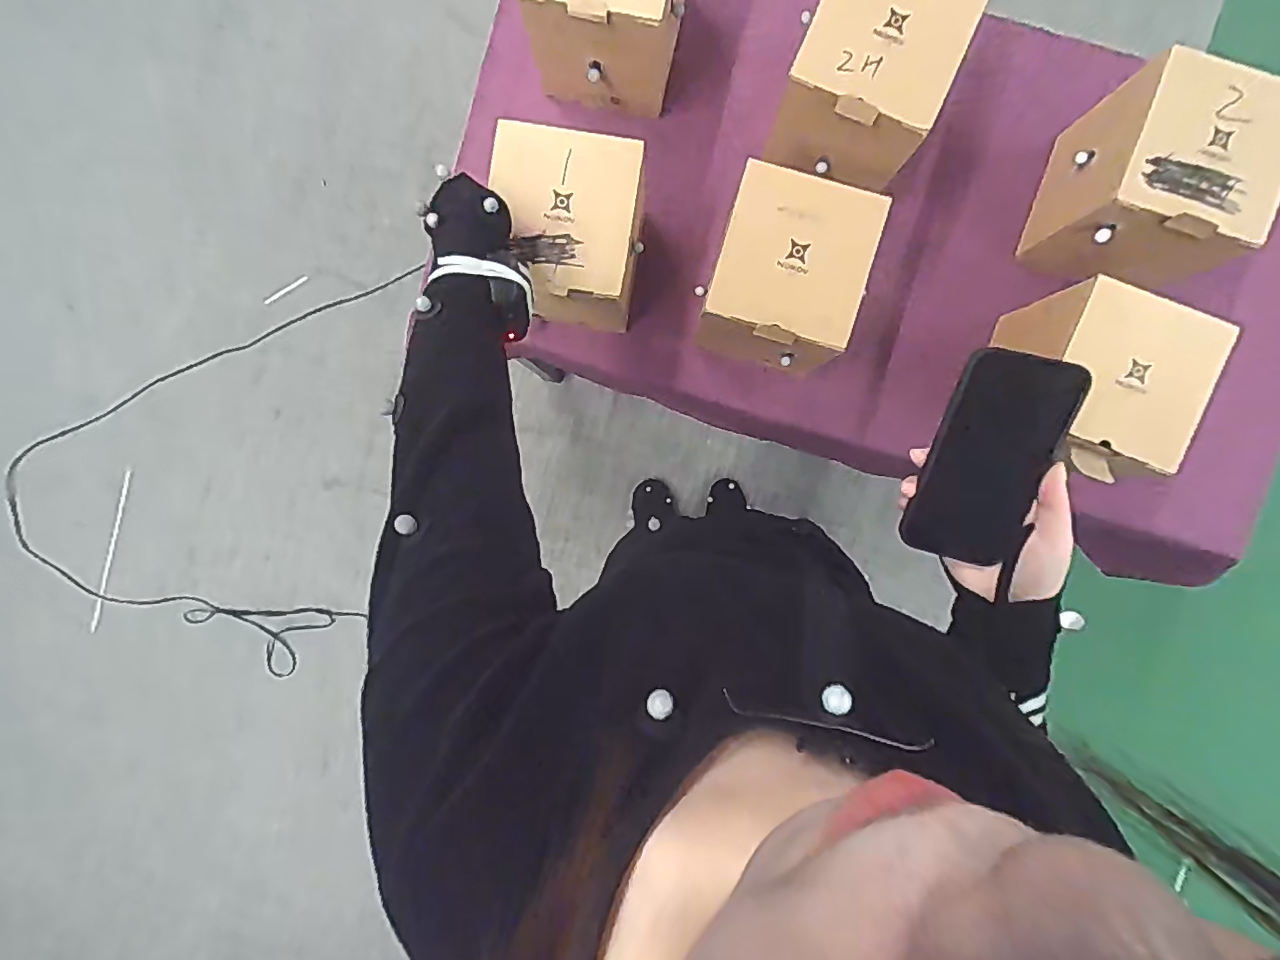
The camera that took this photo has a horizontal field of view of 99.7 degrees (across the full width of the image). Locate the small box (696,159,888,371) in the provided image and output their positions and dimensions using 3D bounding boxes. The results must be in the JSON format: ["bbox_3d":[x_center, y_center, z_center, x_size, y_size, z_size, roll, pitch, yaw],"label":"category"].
[{"bbox_3d":[0.172,-0.249,0.673,0.168,0.176,0.179,17,92,0],"label":"small box"}]

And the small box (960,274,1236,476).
[{"bbox_3d":[0.538,-0.117,0.666,0.168,0.176,0.179,22,93,1],"label":"small box"}]

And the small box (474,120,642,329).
[{"bbox_3d":[-0.091,-0.302,0.677,0.168,0.176,0.179,9,91,0],"label":"small box"}]

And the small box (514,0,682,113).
[{"bbox_3d":[-0.039,-0.597,0.664,0.168,0.176,0.179,13,94,1],"label":"small box"}]

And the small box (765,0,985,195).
[{"bbox_3d":[0.269,-0.486,0.659,0.168,0.176,0.179,24,93,1],"label":"small box"}]
